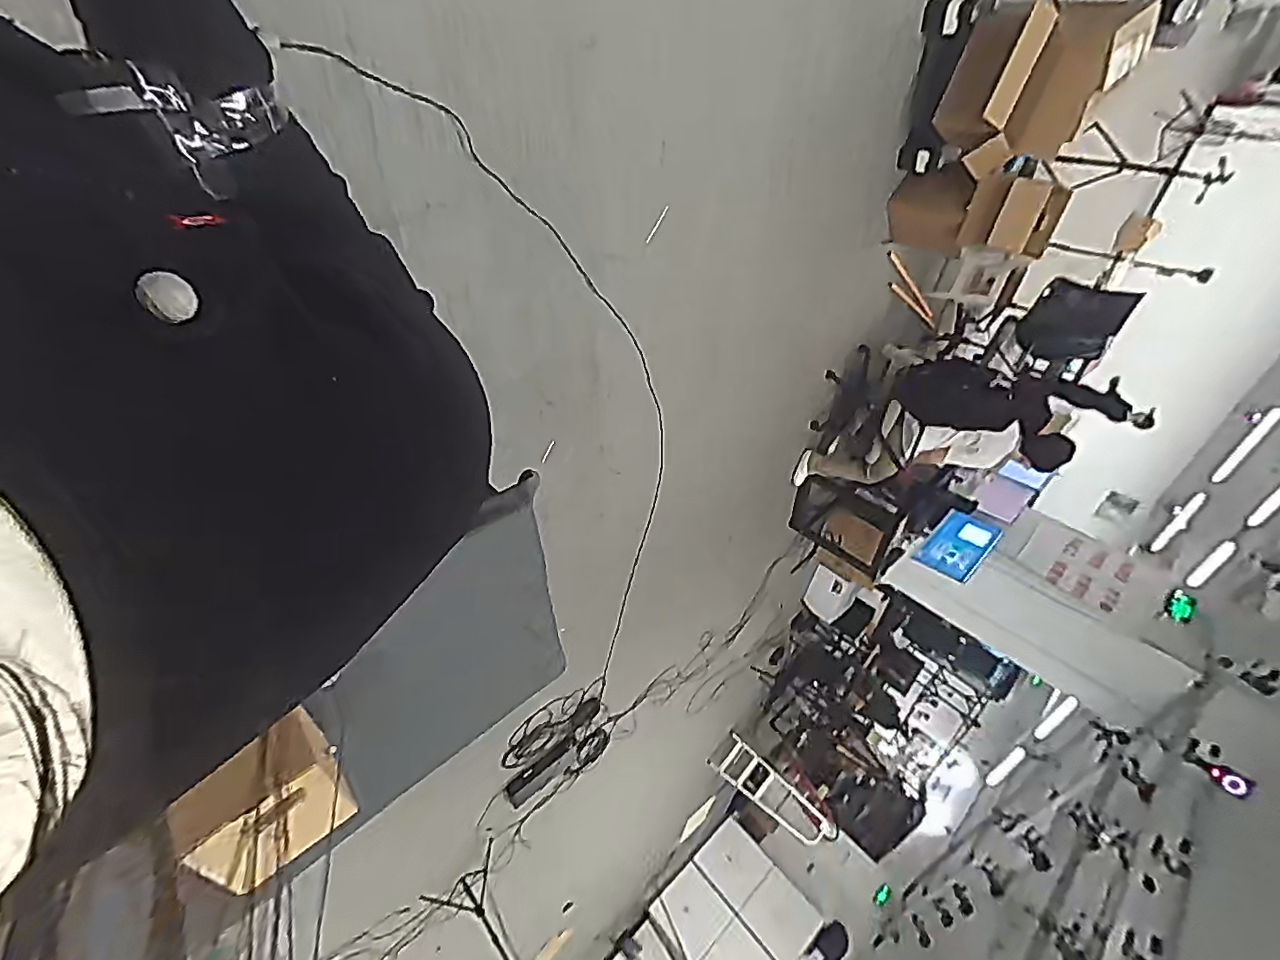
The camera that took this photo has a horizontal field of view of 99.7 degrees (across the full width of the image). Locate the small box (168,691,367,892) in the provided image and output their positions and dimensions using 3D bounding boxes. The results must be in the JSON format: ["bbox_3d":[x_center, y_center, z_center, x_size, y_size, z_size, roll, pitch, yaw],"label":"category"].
[{"bbox_3d":[-0.545,0.446,0.797,0.168,0.176,0.179,-33,139,-29],"label":"small box"}]
